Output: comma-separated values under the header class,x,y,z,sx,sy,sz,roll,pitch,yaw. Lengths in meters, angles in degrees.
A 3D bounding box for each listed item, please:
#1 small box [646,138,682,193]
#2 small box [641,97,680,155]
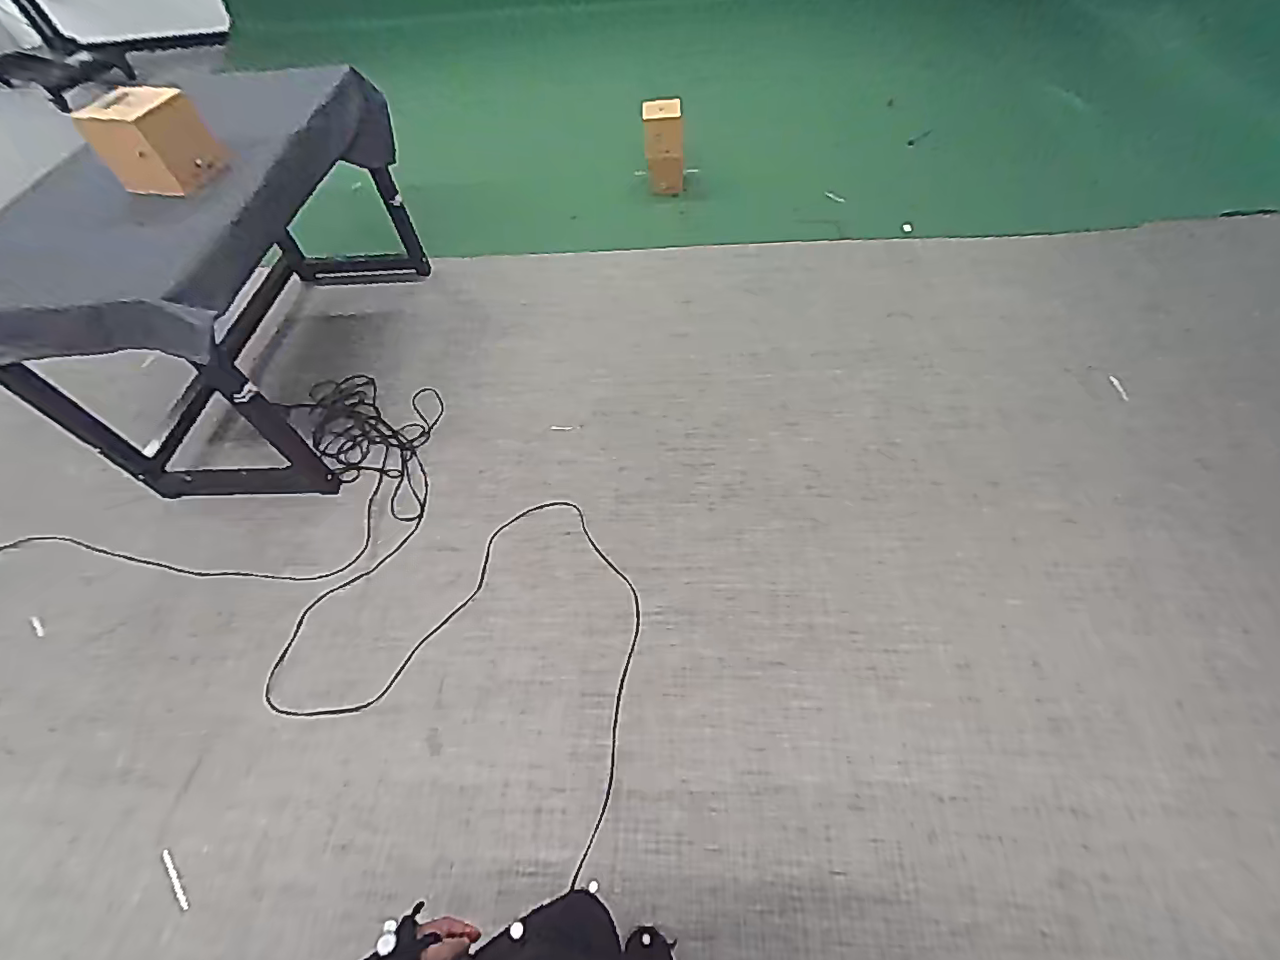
class,x,y,z,sx,sy,sz,roll,pitch,yaw
small box,0.114,-1.480,2.543,0.168,0.176,0.179,-2,56,4
small box,0.094,-1.569,2.407,0.168,0.176,0.179,-2,55,4
